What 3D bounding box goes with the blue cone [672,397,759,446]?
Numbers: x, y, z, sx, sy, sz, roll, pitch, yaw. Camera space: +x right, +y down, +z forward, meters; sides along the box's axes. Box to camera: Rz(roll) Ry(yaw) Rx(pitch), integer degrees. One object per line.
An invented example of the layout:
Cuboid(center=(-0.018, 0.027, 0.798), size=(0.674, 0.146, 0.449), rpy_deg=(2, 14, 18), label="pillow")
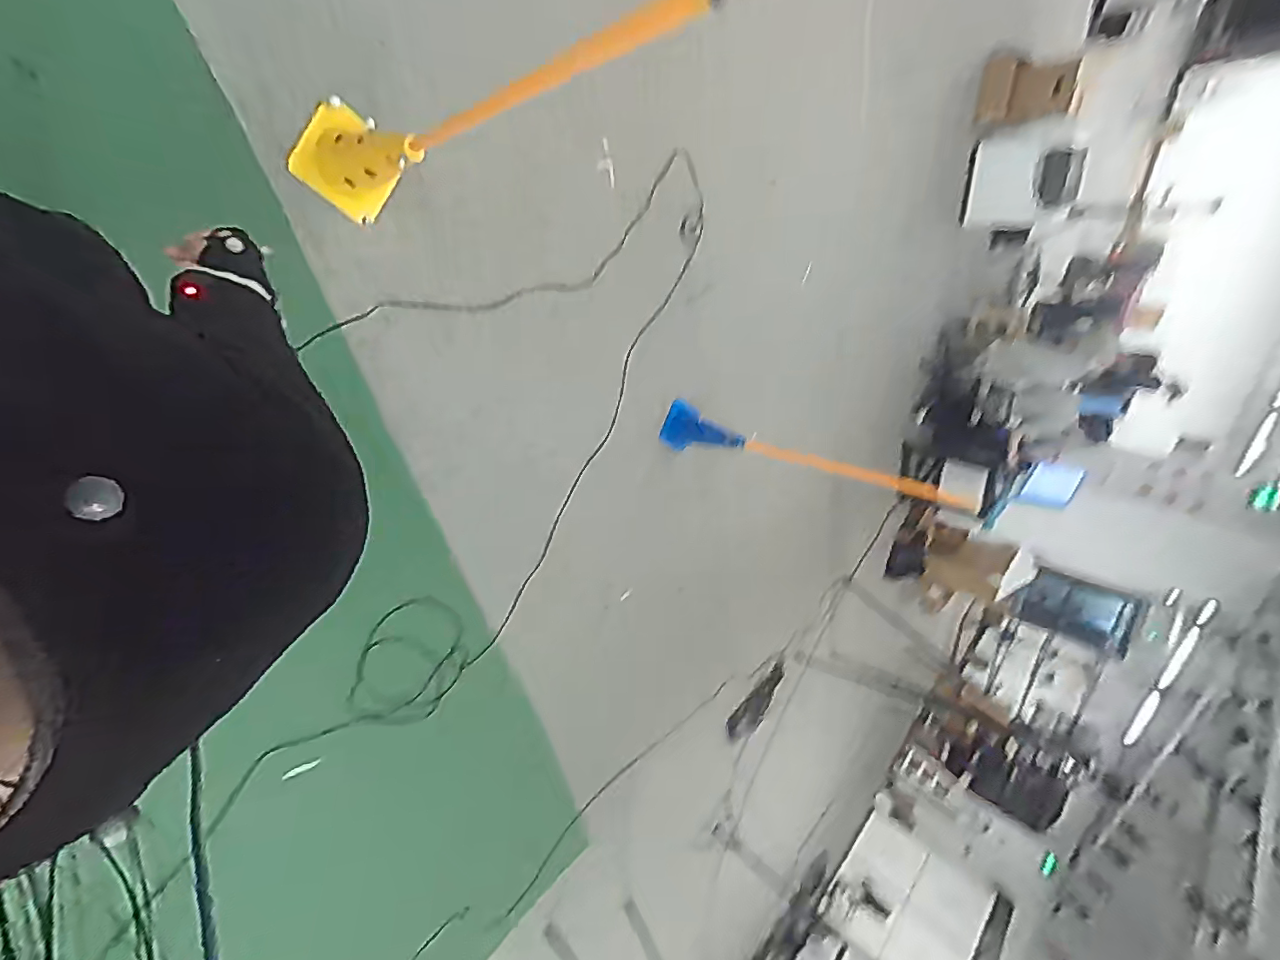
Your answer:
Cuboid(center=(0.340, -0.218, 2.301), size=(0.193, 0.380, 0.192), rpy_deg=(18, 93, -51), label="blue cone")
